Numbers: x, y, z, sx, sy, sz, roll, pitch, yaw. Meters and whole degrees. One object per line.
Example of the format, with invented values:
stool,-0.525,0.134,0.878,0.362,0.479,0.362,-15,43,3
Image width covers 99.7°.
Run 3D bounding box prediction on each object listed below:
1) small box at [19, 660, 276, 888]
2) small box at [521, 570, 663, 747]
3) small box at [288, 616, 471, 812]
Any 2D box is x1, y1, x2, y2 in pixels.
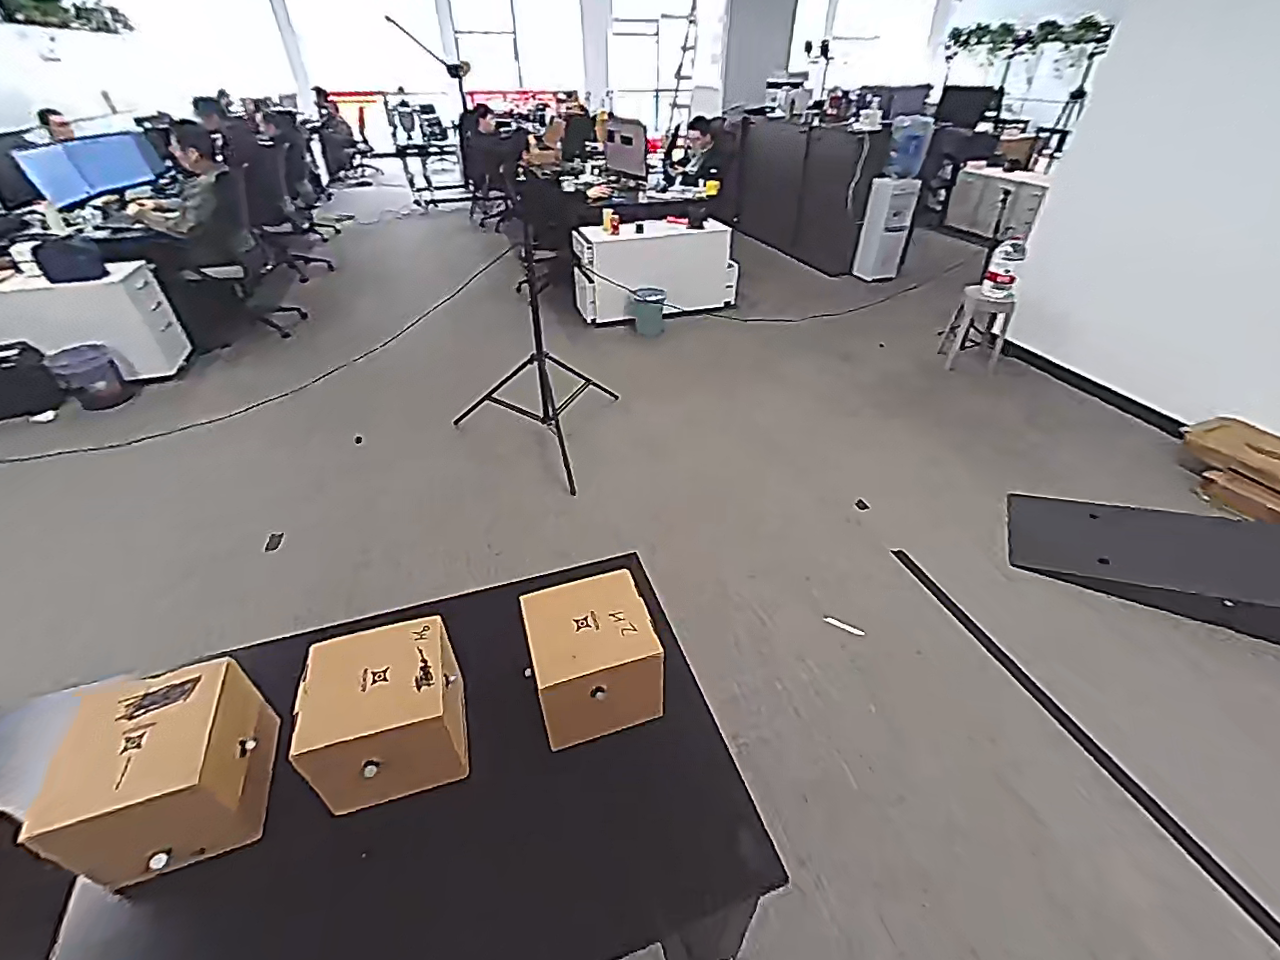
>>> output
small box,-0.593,0.369,0.688,0.168,0.176,0.179,-13,40,-16
small box,-0.071,0.269,0.817,0.179,0.176,0.168,-12,39,-14
small box,-0.345,0.323,0.750,0.179,0.176,0.168,-11,39,-13
